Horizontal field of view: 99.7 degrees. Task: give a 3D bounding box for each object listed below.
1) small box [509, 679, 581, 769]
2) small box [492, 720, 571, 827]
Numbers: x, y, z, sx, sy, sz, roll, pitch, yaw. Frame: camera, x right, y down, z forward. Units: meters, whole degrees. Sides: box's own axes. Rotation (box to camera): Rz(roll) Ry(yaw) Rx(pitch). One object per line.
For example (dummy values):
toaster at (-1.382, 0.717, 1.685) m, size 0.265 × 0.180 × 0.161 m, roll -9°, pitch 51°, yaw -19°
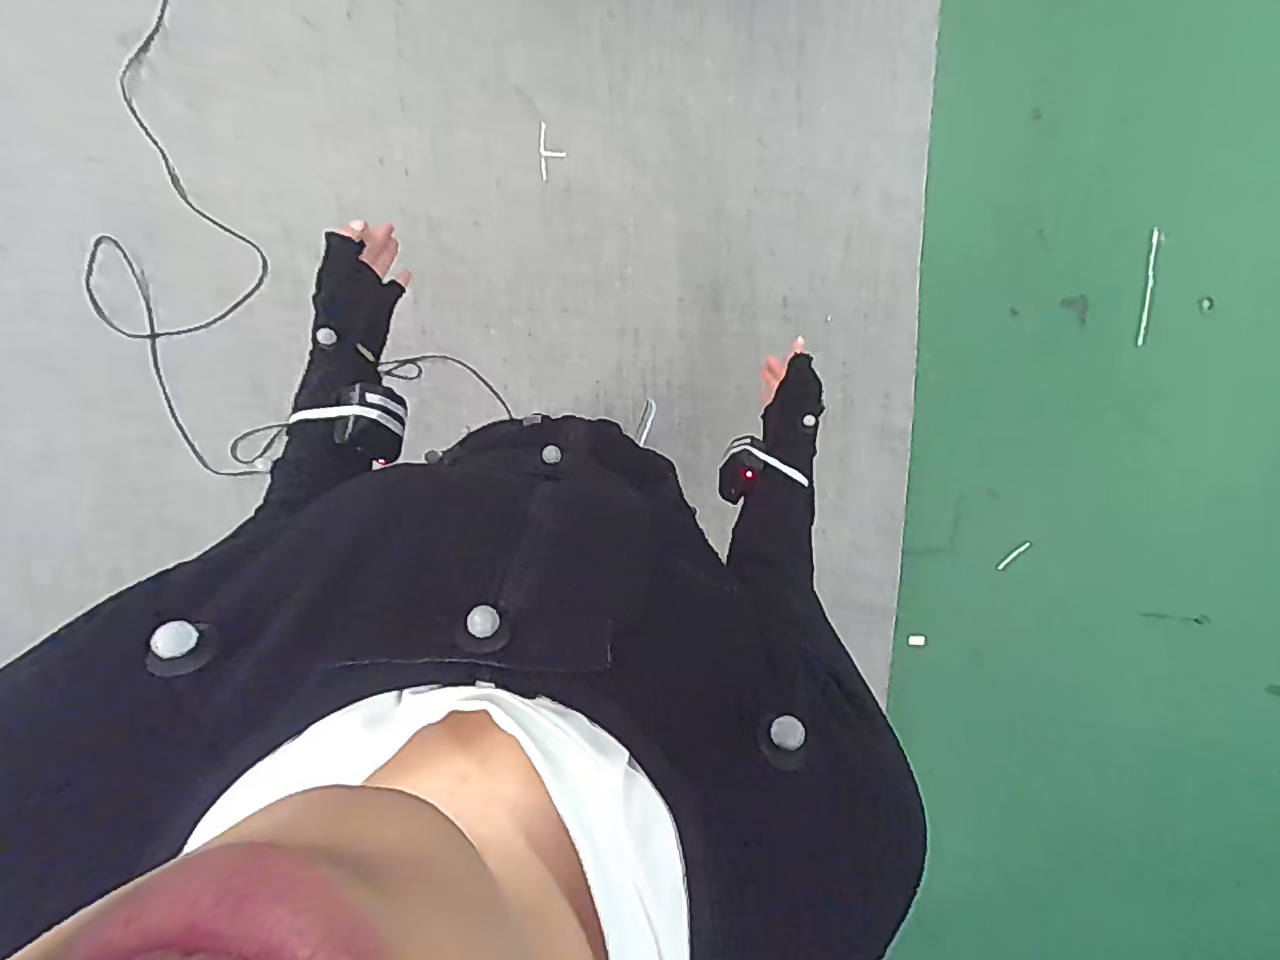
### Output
small box at (-0.250, 0.649, 1.440) m, size 0.168 × 0.176 × 0.179 m, roll -7°, pitch 100°, yaw -5°
small box at (-0.248, 0.679, 1.260) m, size 0.168 × 0.176 × 0.179 m, roll -2°, pitch 99°, yaw -5°
